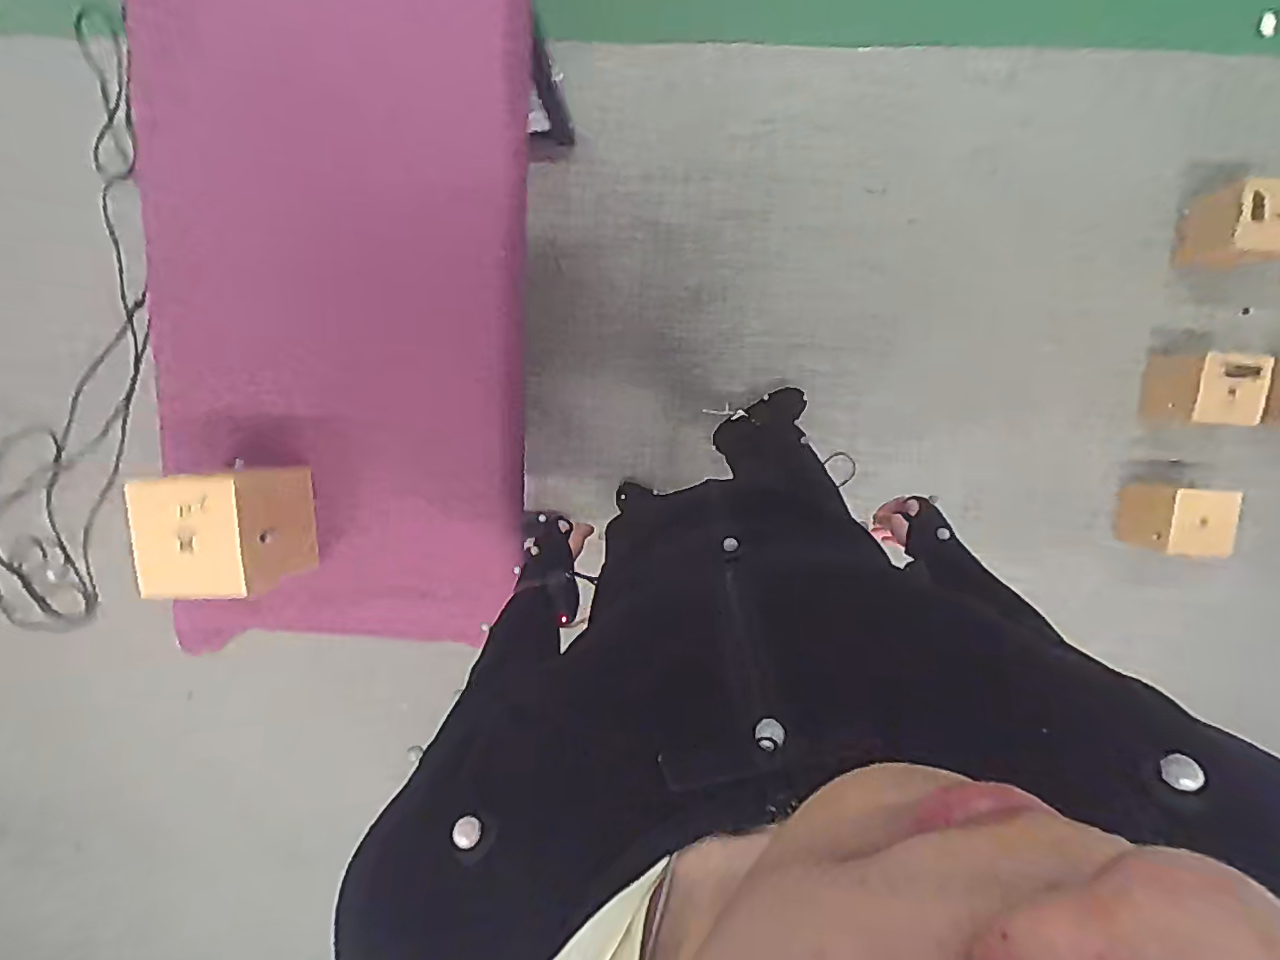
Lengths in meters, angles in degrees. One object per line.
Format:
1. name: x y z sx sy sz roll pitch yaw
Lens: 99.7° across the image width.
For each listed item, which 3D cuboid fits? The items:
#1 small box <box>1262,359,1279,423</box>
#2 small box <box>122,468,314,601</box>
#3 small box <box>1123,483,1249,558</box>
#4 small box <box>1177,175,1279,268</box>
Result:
1. small box: 1.797 -0.230 1.403 0.168 0.176 0.179 3 96 2
2. small box: -0.642 0.078 0.847 0.168 0.176 0.179 -1 97 3
3. small box: 1.462 0.102 1.461 0.168 0.176 0.179 2 97 3
4. small box: 1.534 -0.646 1.370 0.179 0.176 0.168 4 97 2
